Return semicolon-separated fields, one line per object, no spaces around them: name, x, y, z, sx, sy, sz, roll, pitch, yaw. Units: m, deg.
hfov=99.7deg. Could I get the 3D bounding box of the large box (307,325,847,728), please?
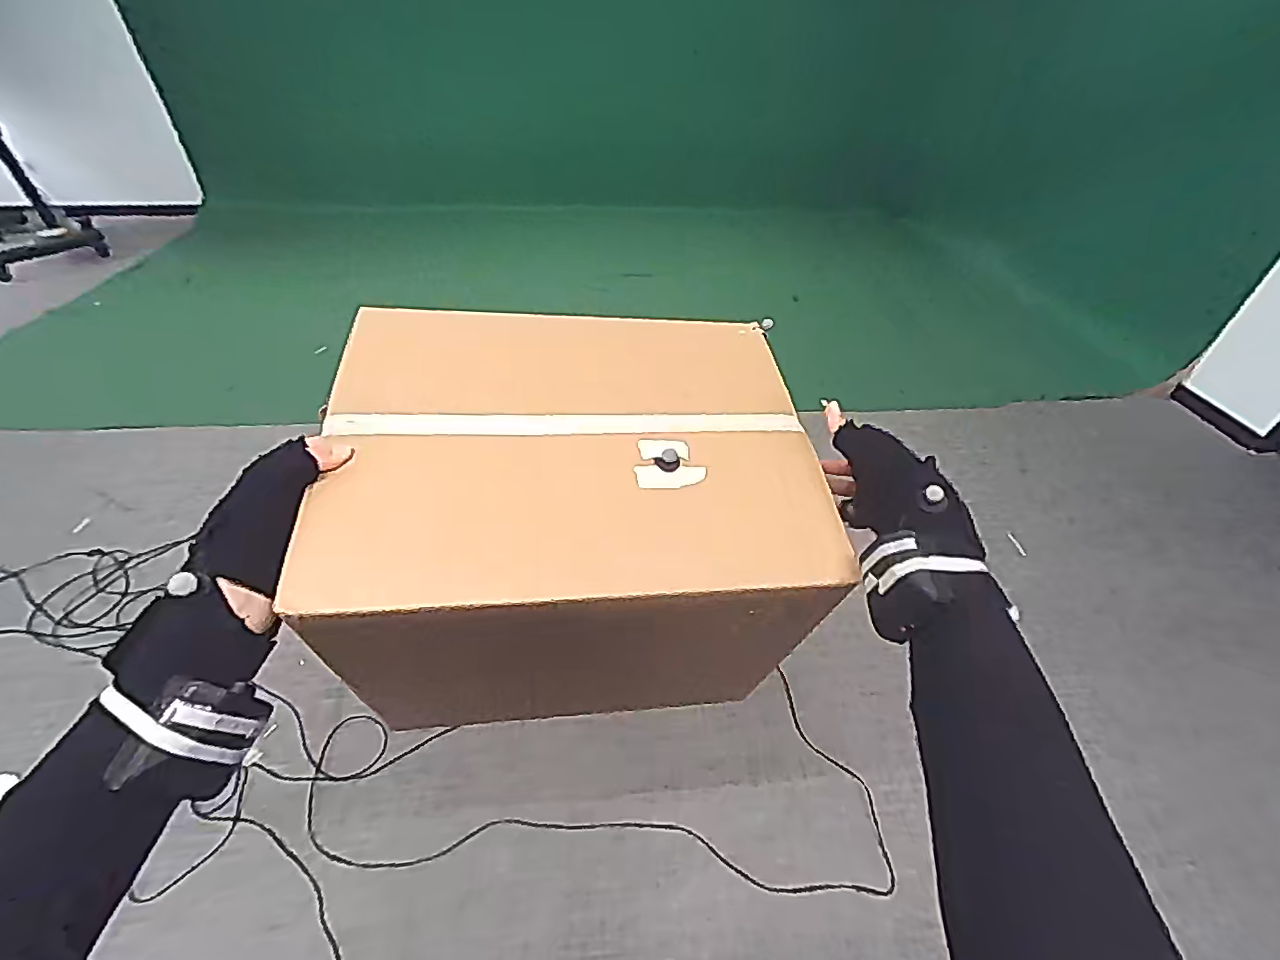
large box;-0.069;0.054;0.595;0.408;0.320;0.320;0;53;-11
